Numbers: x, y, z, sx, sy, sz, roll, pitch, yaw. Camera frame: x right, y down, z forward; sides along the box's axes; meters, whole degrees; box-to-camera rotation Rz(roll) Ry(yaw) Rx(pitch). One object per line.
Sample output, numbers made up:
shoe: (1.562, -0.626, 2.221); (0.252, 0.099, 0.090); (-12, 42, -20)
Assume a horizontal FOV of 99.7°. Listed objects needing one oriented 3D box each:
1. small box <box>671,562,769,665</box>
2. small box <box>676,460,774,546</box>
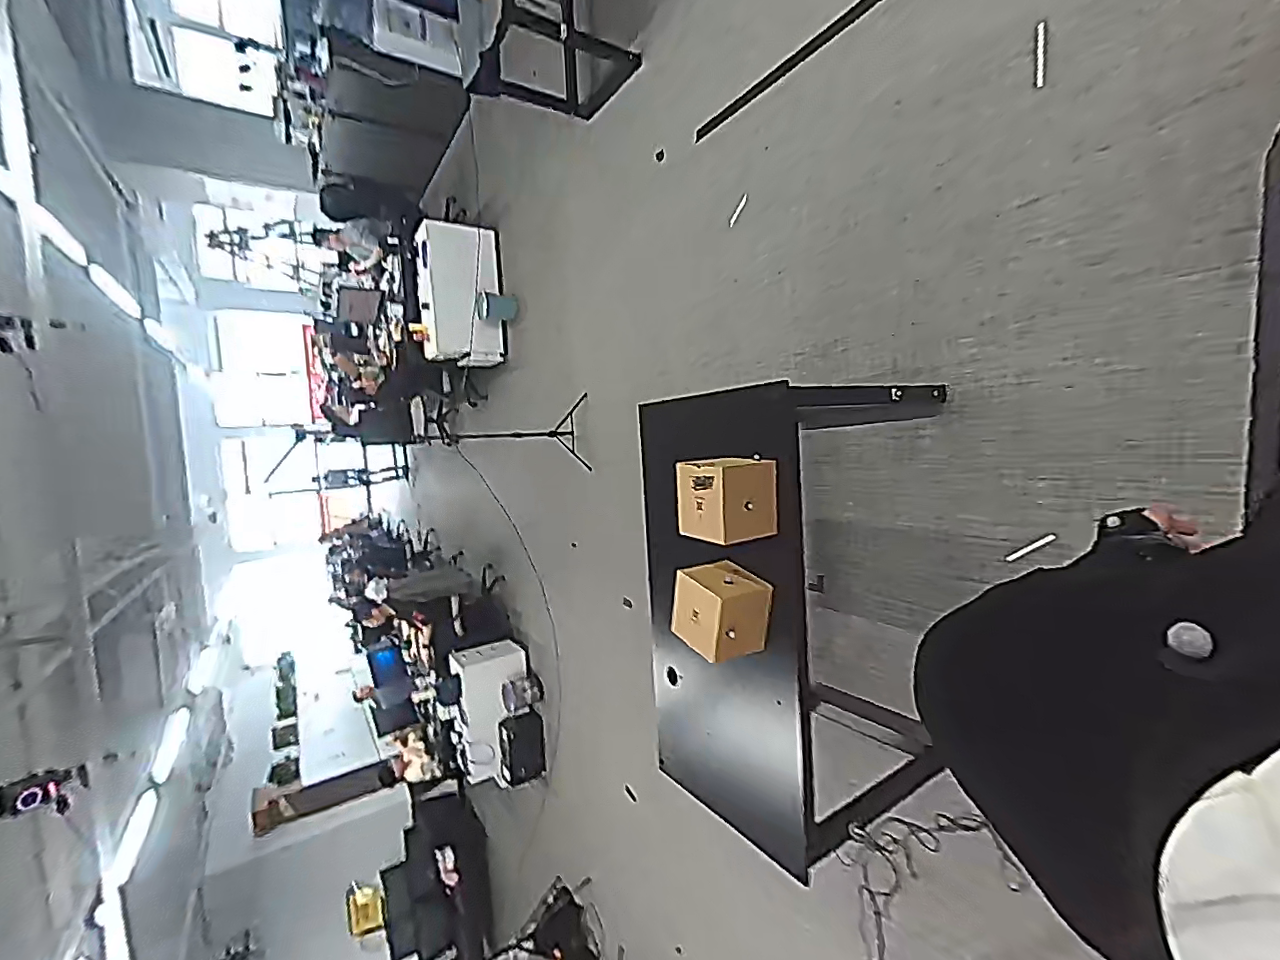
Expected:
small box: (0.199, 0.320, 1.336); (0.168, 0.176, 0.179); (26, 117, 54)
small box: (0.202, 0.045, 1.280); (0.168, 0.176, 0.179); (7, 102, 57)
